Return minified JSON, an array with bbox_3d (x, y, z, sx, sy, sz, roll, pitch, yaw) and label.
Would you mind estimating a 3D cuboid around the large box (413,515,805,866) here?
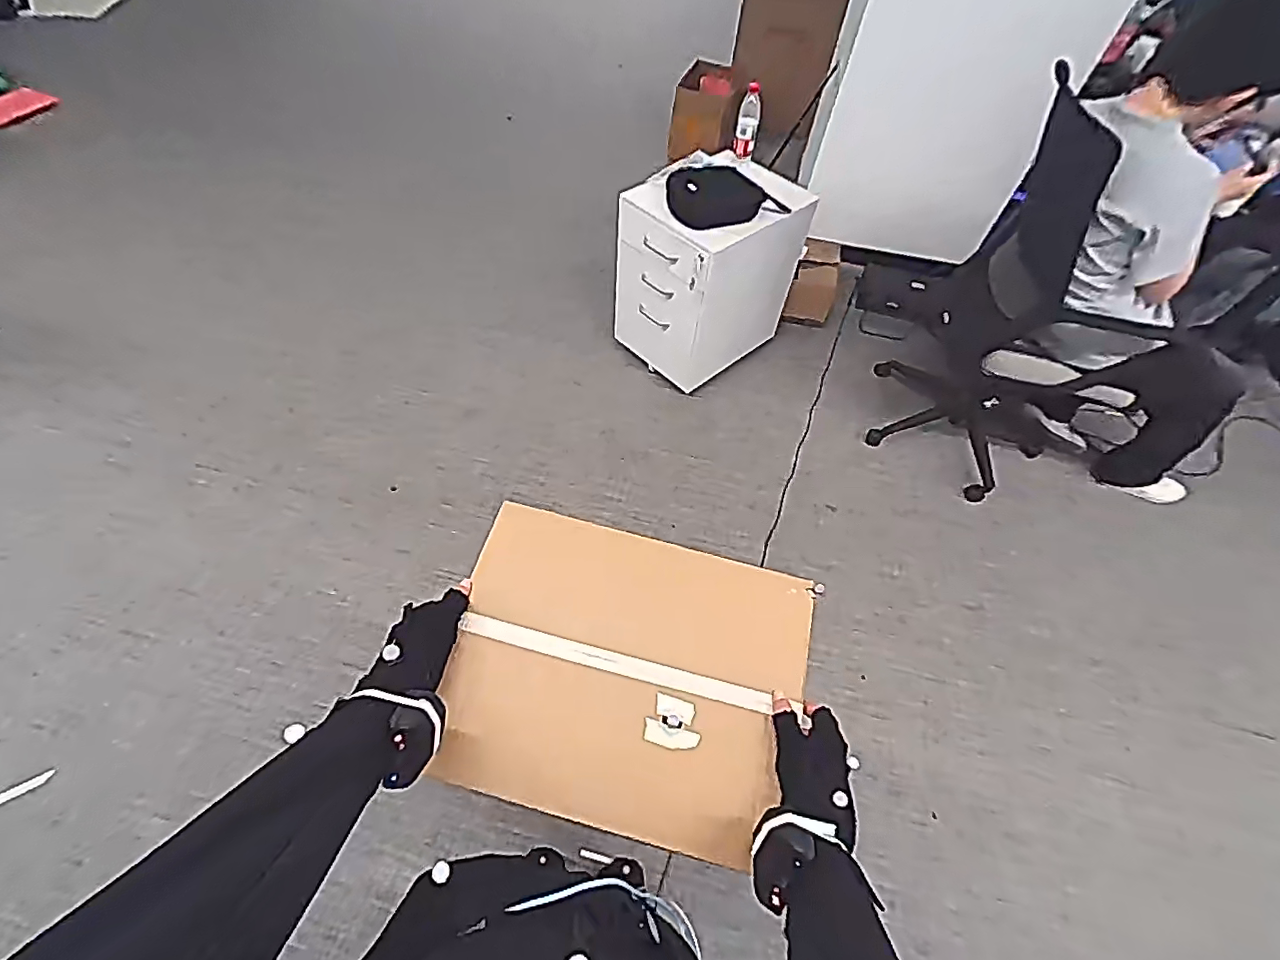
[{"bbox_3d":[-0.028,0.290,0.758,0.408,0.320,0.320,14,62,3],"label":"large box"}]
